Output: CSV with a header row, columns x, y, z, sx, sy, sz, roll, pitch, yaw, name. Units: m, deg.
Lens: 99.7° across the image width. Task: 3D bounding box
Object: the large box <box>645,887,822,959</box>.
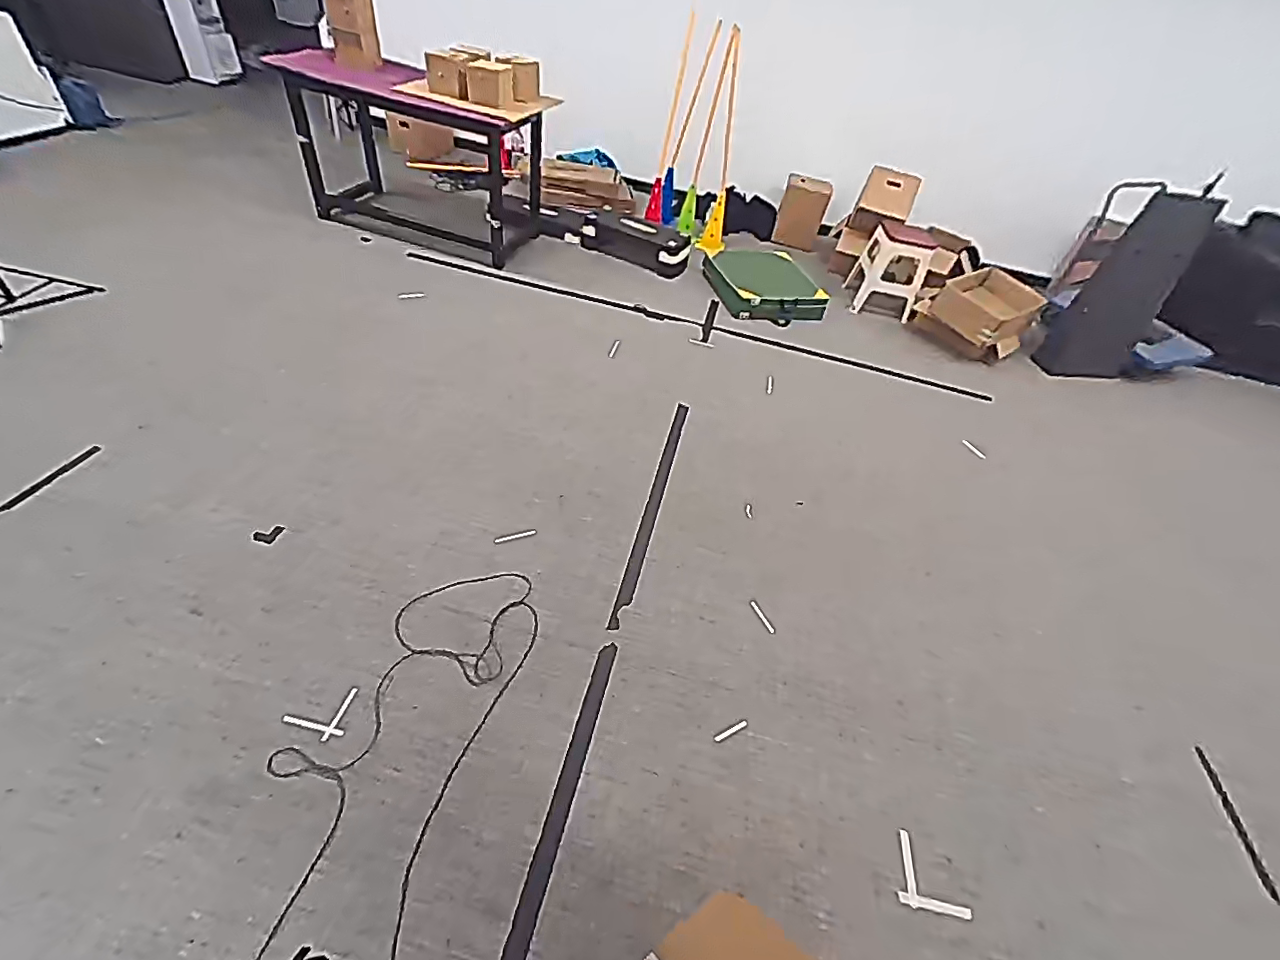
x,y,z,sx,sy,sz,roll,pitch,yaw,name
0.155,0.796,0.630,0.320,0.408,0.320,-28,83,-24,large box
